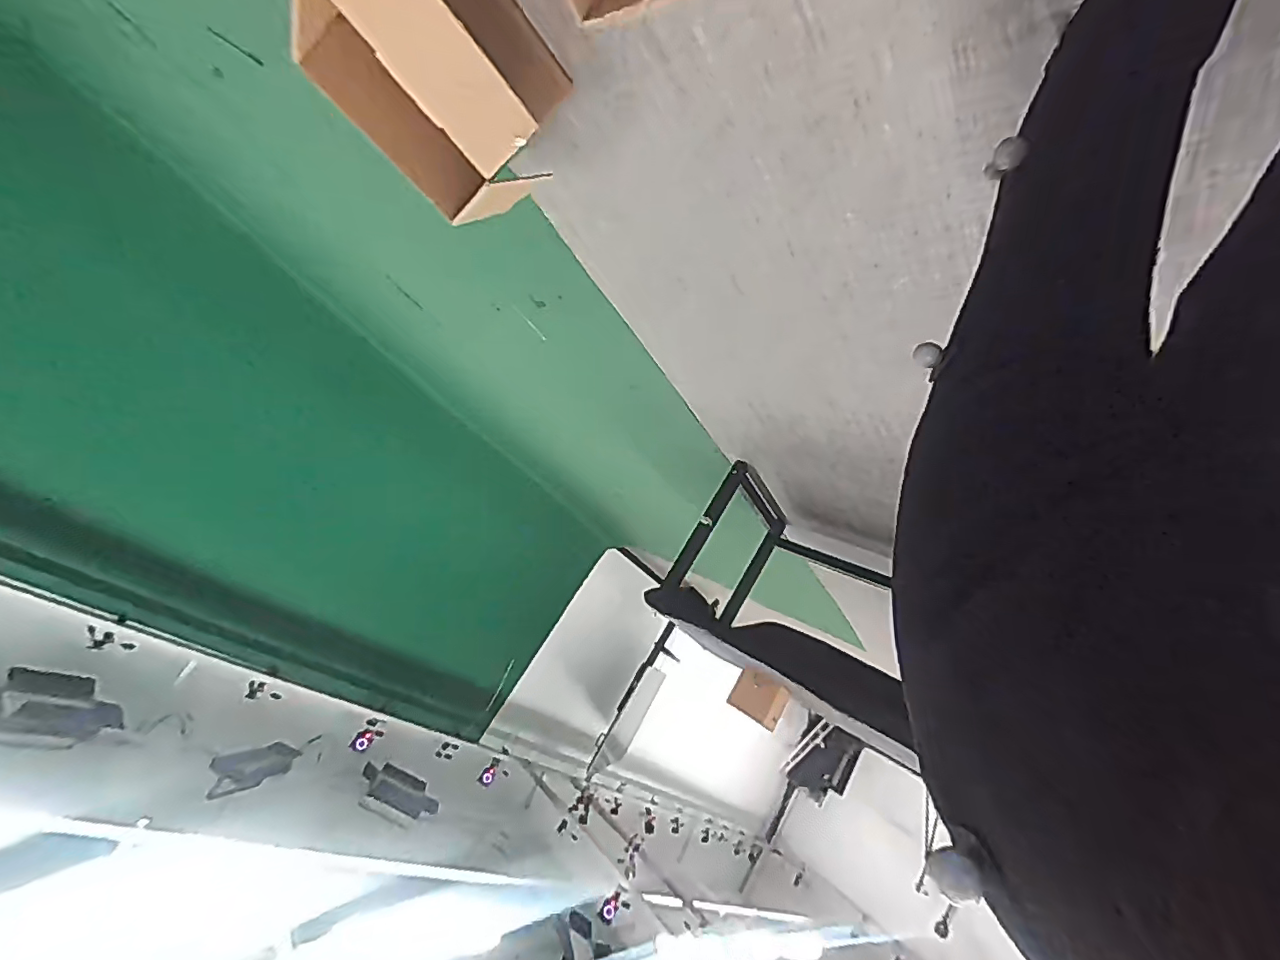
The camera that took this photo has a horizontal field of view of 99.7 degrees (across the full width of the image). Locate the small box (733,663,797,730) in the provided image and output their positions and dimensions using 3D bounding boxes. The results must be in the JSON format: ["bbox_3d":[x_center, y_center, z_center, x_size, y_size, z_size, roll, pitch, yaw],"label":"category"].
[{"bbox_3d":[0.499,0.856,2.138,0.168,0.176,0.179,22,161,38],"label":"small box"}]
